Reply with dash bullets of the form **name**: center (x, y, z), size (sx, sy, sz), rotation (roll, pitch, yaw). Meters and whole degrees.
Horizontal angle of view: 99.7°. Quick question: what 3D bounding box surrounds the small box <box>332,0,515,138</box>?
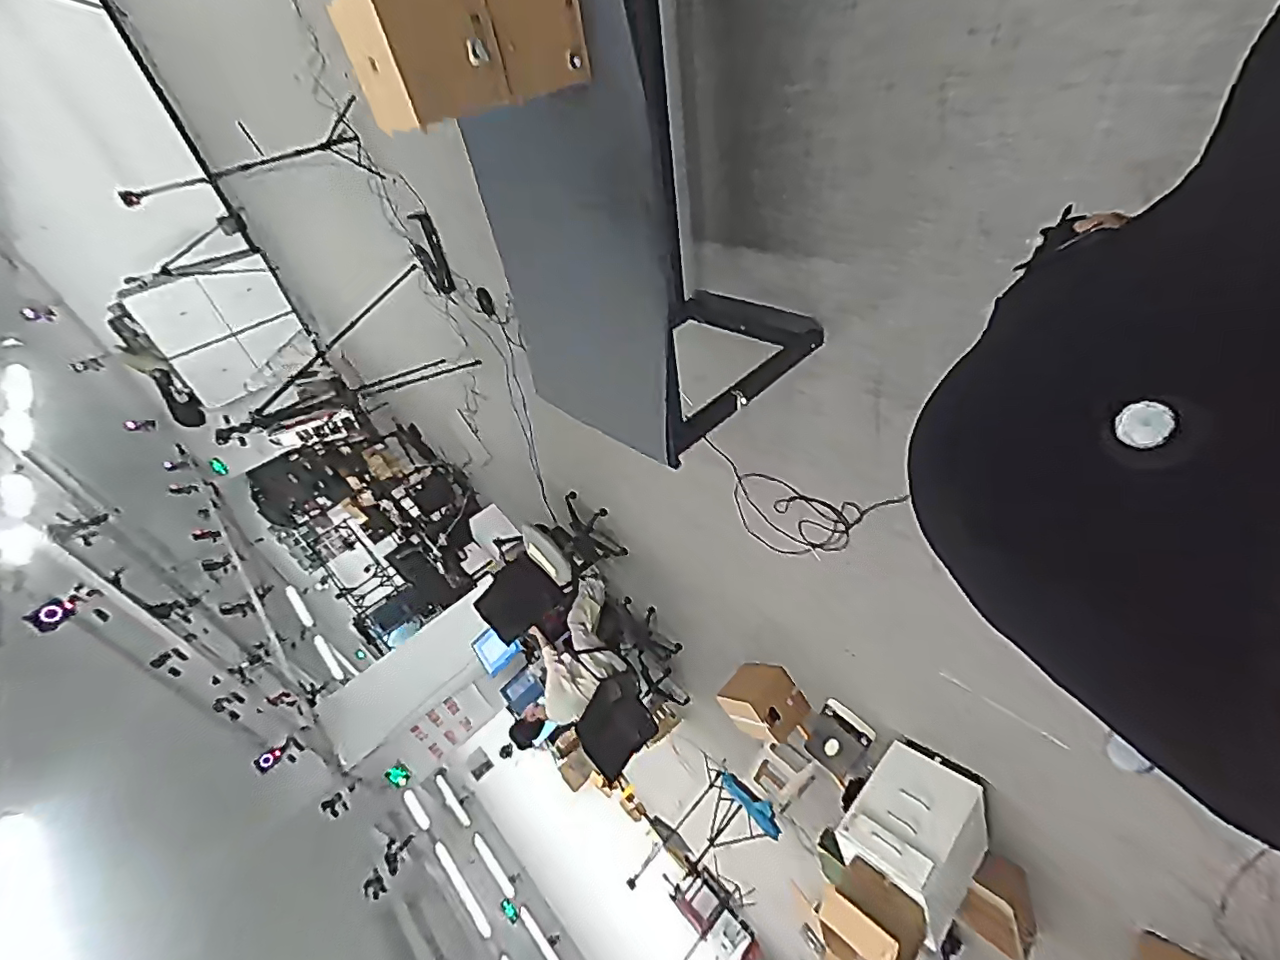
- **small box**: center (-0.319, -0.634, 0.816), size (0.179, 0.176, 0.168), rotation (29, 147, 40)

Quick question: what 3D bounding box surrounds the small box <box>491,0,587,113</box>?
- **small box**: center (-0.203, -0.722, 0.888), size (0.179, 0.176, 0.168), rotation (34, 148, 38)
